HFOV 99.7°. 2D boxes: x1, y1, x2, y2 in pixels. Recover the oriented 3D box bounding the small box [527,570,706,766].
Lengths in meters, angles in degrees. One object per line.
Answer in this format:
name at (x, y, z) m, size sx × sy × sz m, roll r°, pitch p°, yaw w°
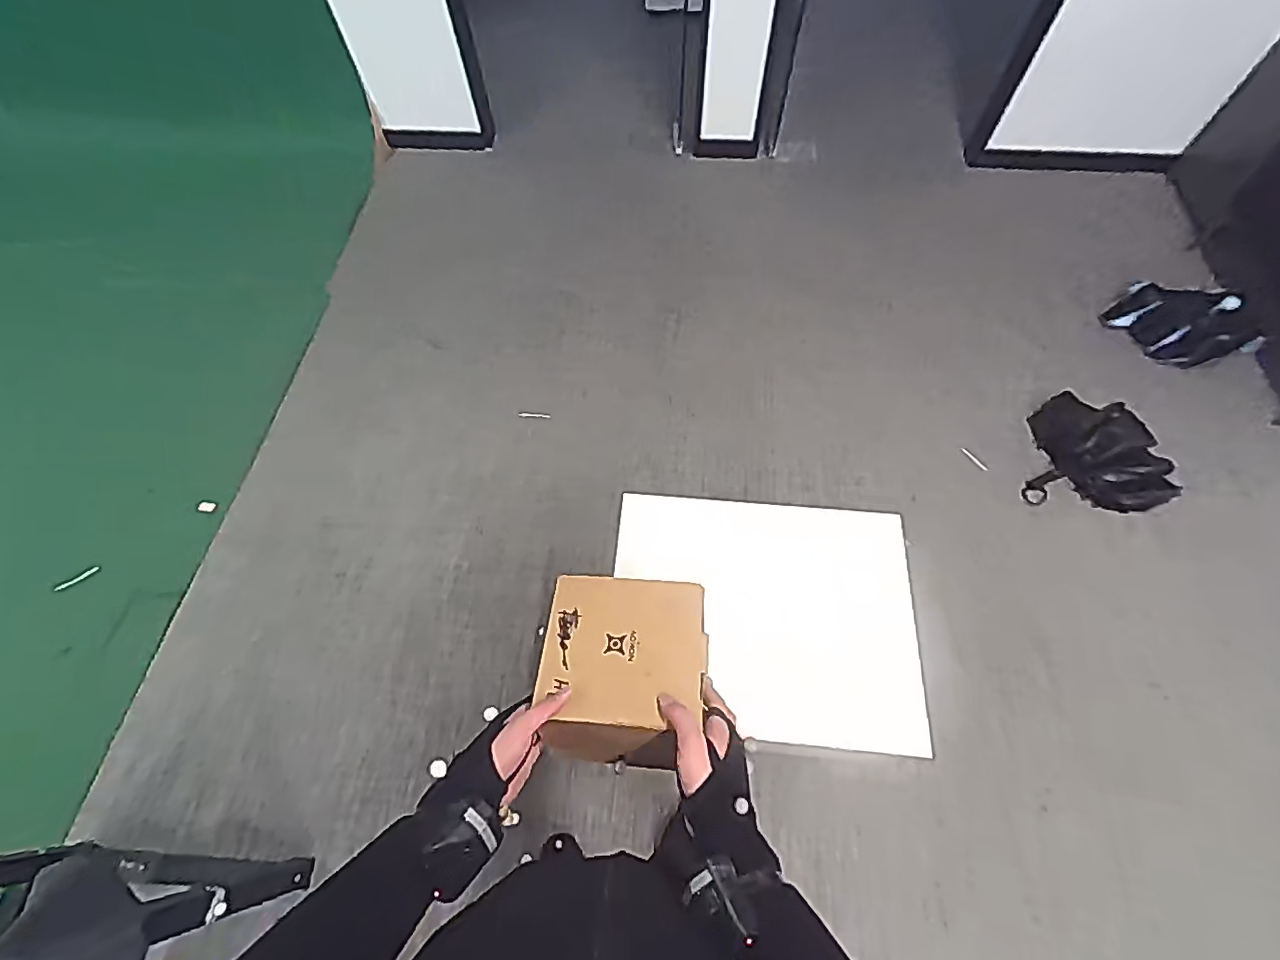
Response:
small box at (-0.019, 0.227, 0.643) m, size 0.179 × 0.176 × 0.168 m, roll 4°, pitch 50°, yaw 4°
